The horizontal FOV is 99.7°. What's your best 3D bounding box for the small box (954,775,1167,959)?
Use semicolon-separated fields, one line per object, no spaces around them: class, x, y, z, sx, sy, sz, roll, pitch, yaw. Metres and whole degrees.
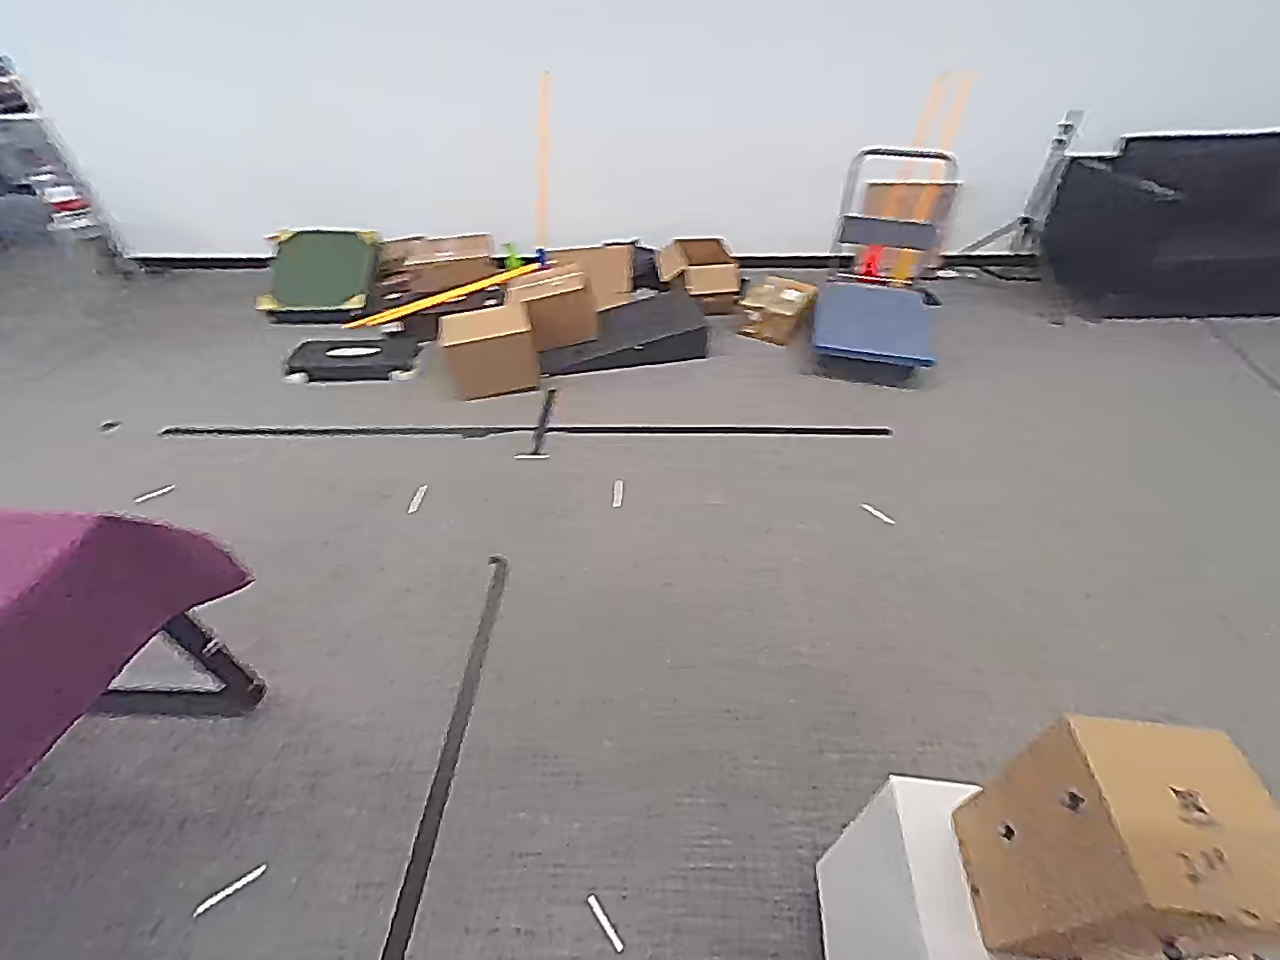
small box;0.543;0.505;0.691;0.179;0.176;0.168;6;43;6

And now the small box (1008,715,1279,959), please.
small box;0.538;0.384;0.580;0.168;0.176;0.179;5;43;6
